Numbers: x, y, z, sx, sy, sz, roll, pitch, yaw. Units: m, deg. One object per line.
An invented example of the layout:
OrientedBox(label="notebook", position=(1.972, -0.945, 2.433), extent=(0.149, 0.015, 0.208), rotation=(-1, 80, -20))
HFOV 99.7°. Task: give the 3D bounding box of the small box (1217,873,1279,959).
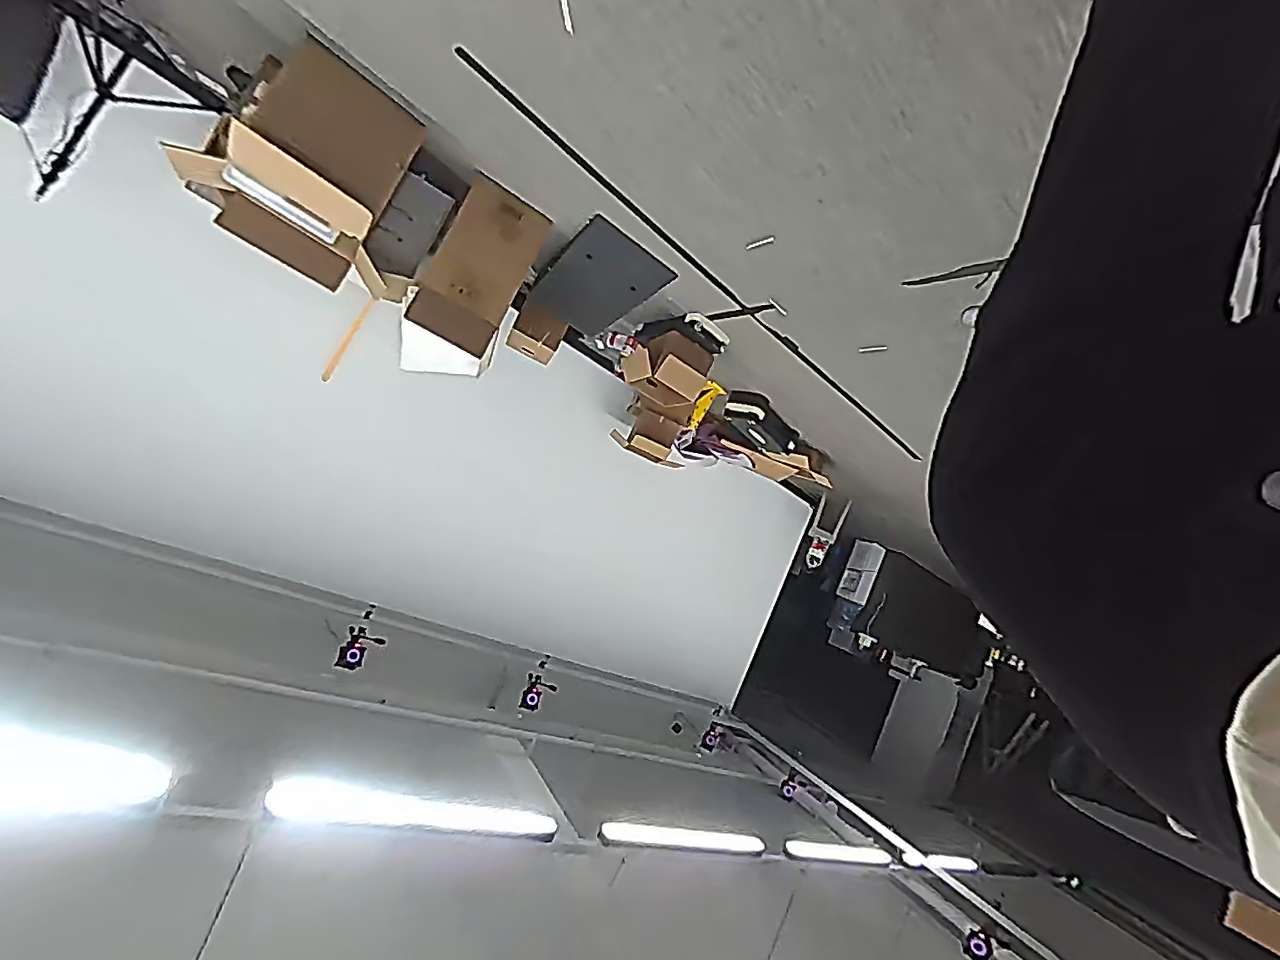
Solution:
OrientedBox(label="small box", position=(1.933, 1.343, 1.658), extent=(0.168, 0.176, 0.179), rotation=(28, 173, -31))
